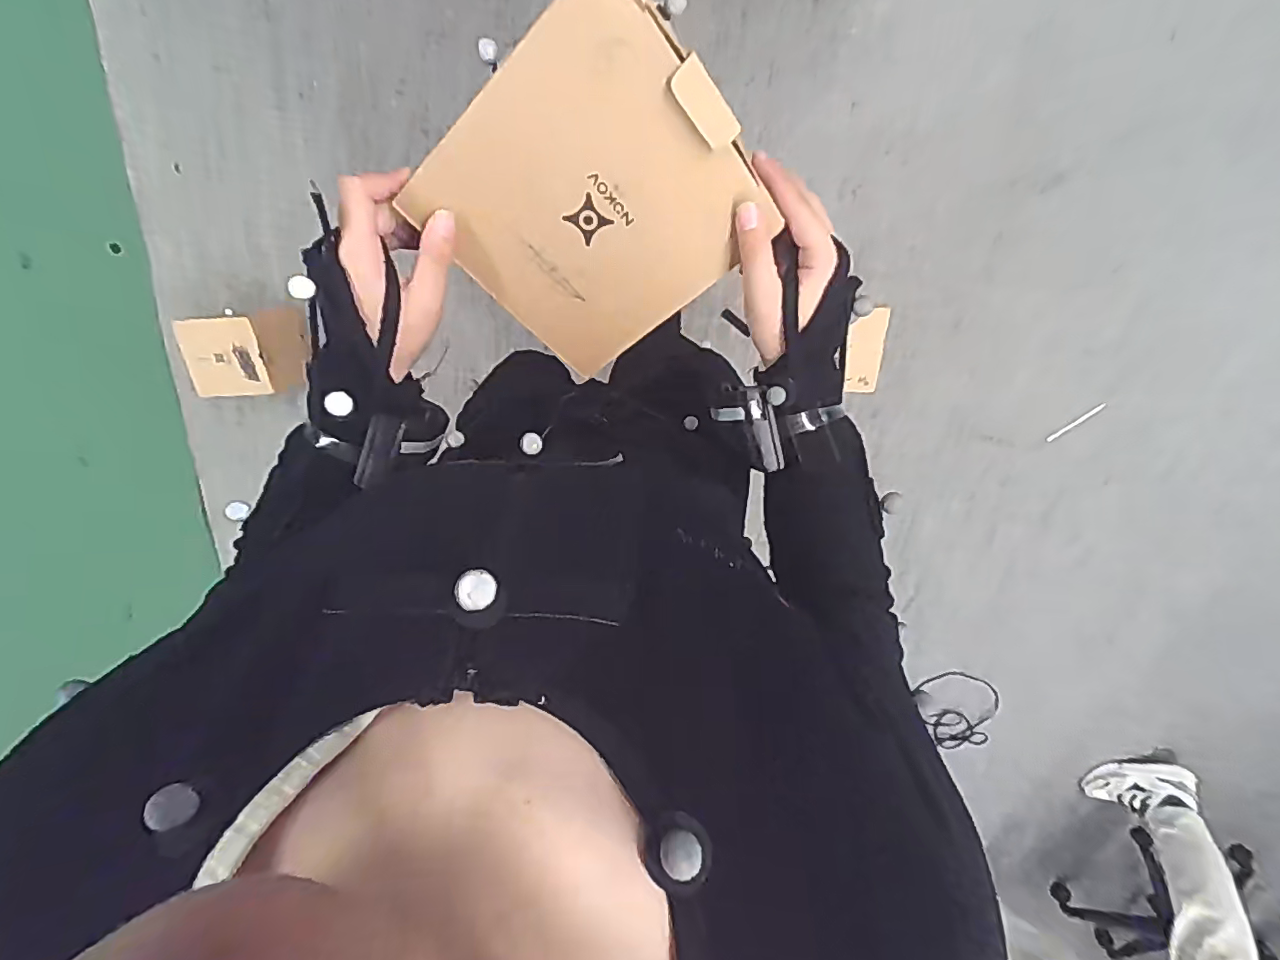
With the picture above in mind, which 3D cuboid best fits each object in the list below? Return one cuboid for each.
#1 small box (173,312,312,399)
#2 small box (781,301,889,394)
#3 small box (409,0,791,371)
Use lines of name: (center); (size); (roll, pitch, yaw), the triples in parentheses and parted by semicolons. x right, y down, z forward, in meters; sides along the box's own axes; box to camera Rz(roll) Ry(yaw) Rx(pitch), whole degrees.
small box: (-0.877, -0.285, 1.221); (0.179, 0.176, 0.168); (-2, 112, 3)
small box: (0.415, -0.295, 1.184); (0.168, 0.176, 0.179); (2, 112, 0)
small box: (-0.024, -0.220, 0.382); (0.179, 0.176, 0.168); (-31, 127, 27)
